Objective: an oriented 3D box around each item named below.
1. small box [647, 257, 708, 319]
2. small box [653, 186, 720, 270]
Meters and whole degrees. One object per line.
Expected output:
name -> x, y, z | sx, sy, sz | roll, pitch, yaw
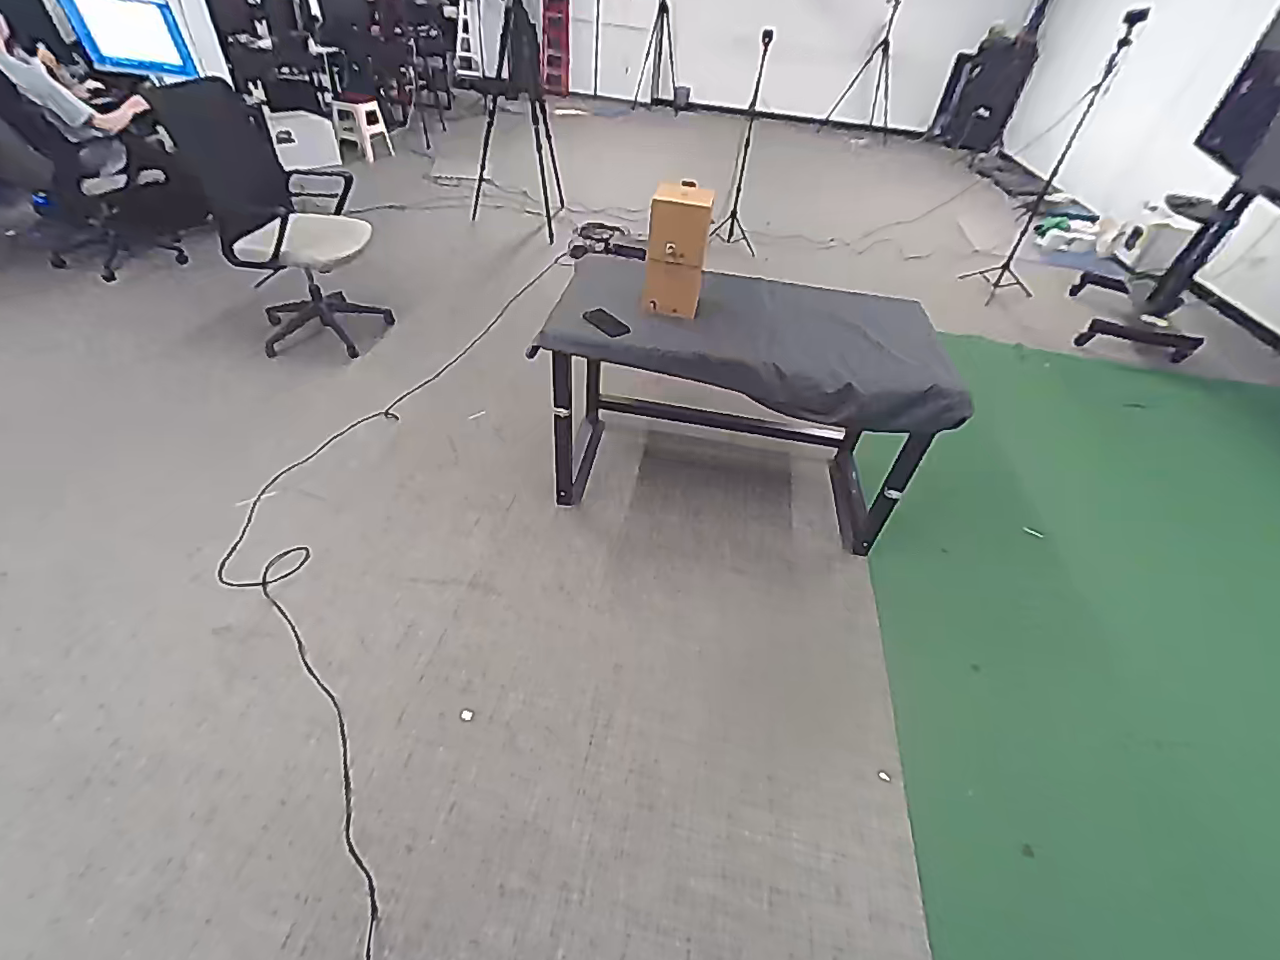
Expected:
small box -> 0.119, -0.623, 1.697 | 0.168, 0.176, 0.179 | 11, 42, 5
small box -> 0.134, -0.738, 1.584 | 0.168, 0.176, 0.179 | 10, 43, 5
